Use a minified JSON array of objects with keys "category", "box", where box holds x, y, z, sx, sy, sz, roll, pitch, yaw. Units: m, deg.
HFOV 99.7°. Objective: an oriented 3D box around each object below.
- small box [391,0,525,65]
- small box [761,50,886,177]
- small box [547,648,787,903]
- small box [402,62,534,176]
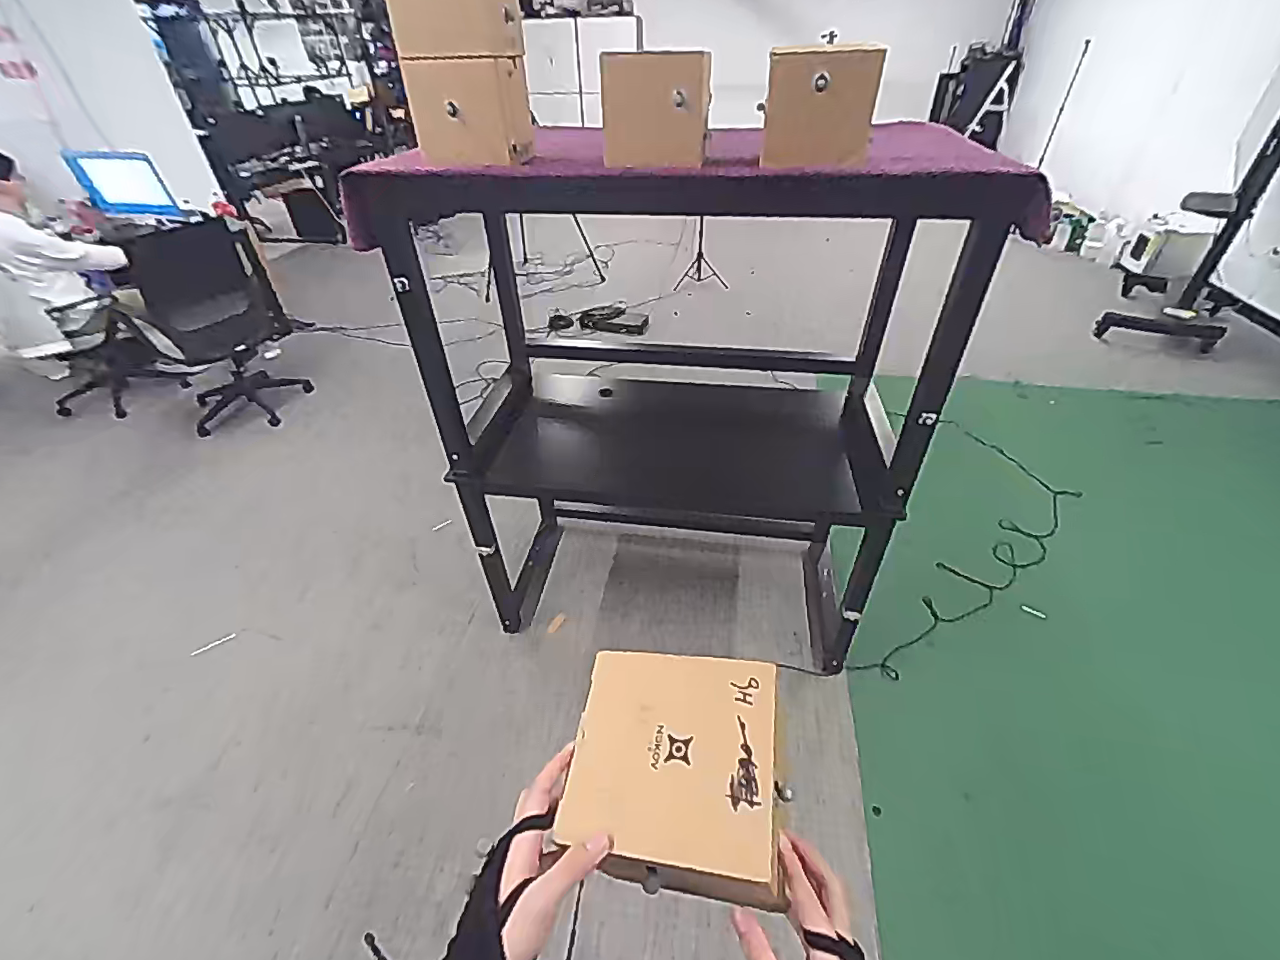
[{"category":"small box","box":[-0.313,-0.819,0.928,0.179,0.176,0.168,5,39,7]},{"category":"small box","box":[0.308,-0.639,0.945,0.179,0.176,0.168,6,41,9]},{"category":"small box","box":[0.042,0.279,0.516,0.179,0.176,0.168,-2,46,19]},{"category":"small box","box":[-0.312,-0.689,1.029,0.179,0.176,0.168,3,38,7]}]
